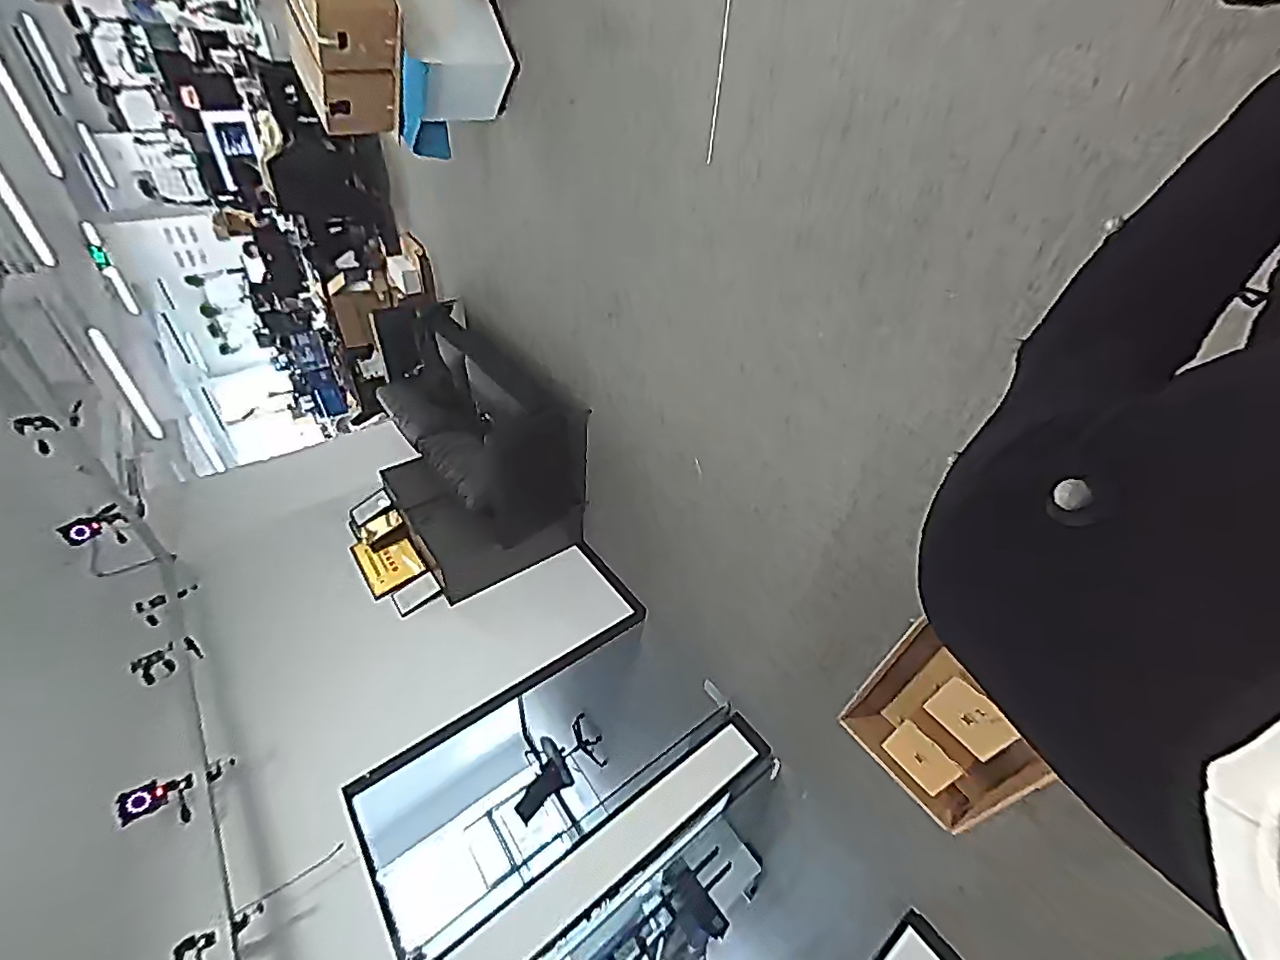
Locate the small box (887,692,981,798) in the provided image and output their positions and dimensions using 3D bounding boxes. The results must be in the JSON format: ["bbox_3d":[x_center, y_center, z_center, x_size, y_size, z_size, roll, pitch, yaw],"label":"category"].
[{"bbox_3d":[0.820,0.716,1.475,0.168,0.176,0.179,45,143,35],"label":"small box"}]

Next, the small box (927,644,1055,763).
[{"bbox_3d":[0.843,0.533,1.298,0.168,0.176,0.179,45,144,33],"label":"small box"}]
